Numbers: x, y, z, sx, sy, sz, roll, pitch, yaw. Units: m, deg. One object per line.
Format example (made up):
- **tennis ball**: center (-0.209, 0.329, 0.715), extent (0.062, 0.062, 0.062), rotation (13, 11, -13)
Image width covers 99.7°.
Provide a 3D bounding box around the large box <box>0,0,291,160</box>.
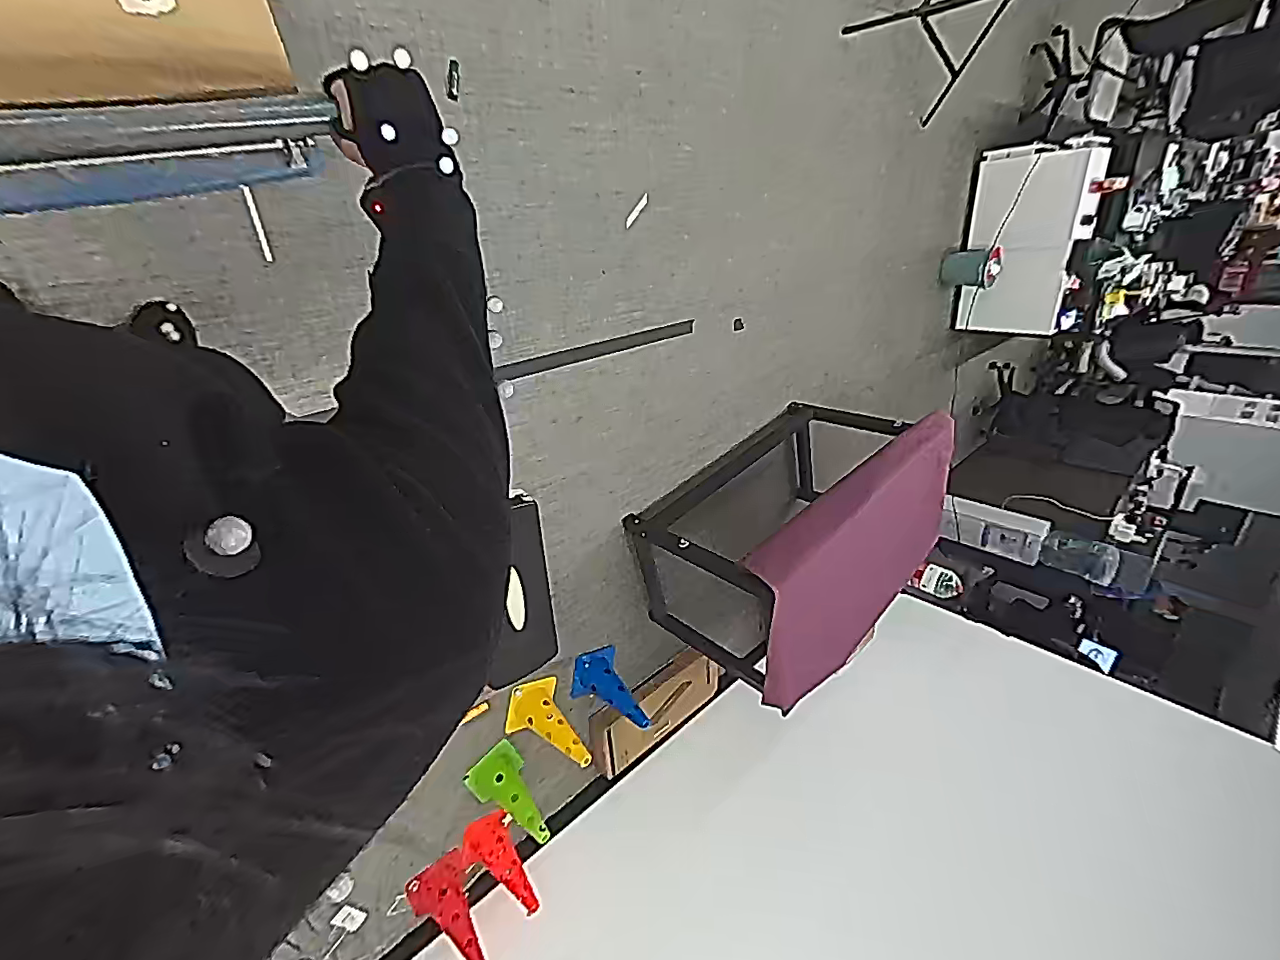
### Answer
- **large box**: center (-0.769, -0.634, 0.706), extent (0.408, 0.320, 0.320), rotation (-30, 125, -33)
